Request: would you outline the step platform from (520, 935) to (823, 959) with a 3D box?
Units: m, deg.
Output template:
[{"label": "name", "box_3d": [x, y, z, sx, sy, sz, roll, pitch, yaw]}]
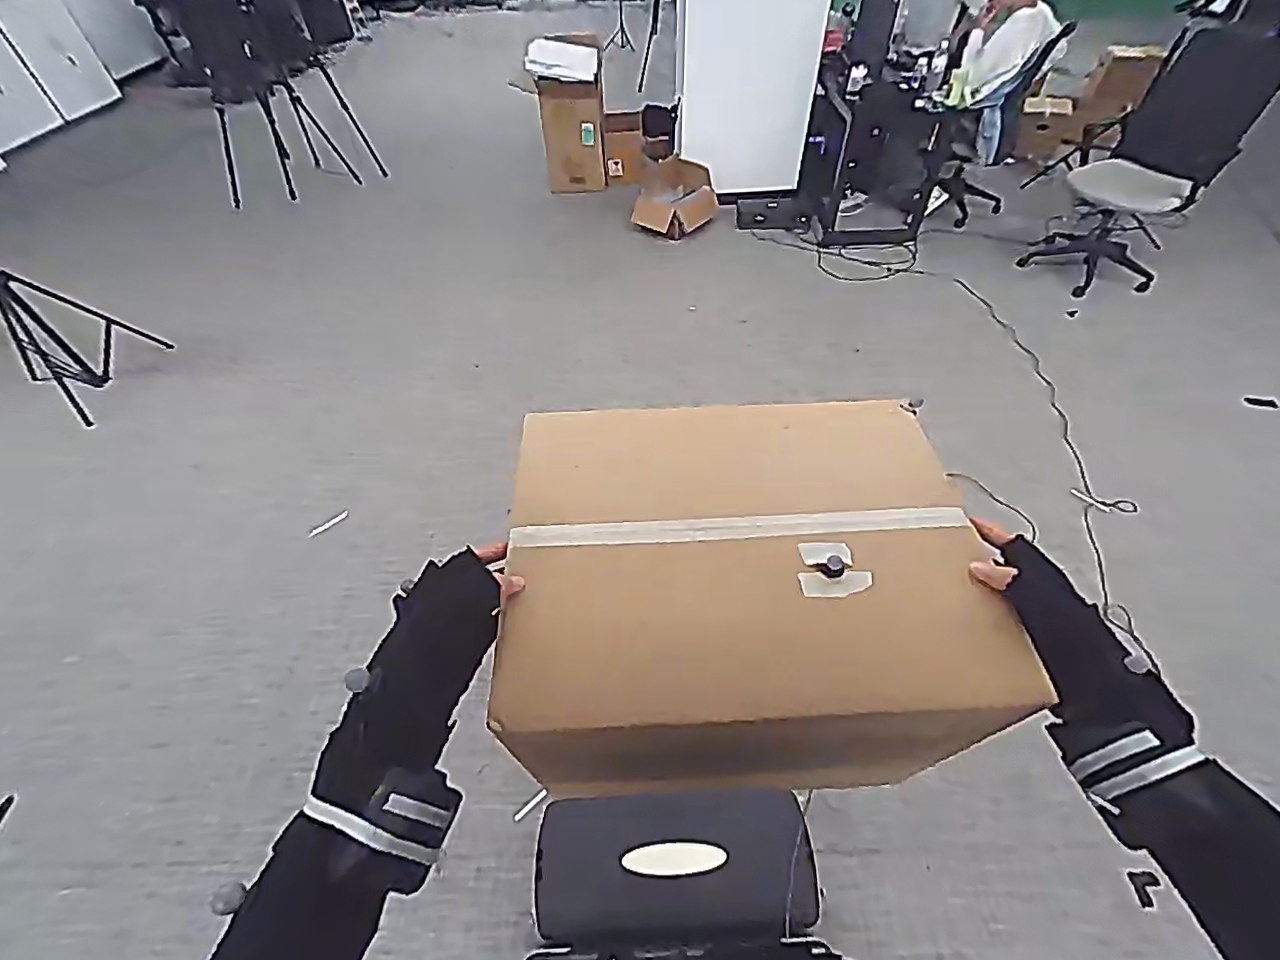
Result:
[{"label": "step platform", "box_3d": [0.065, 1.131, 1.100, 0.684, 0.204, 0.286, -4, 49, 1]}]

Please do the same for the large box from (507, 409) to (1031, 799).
[{"label": "large box", "box_3d": [0.089, 0.144, 0.605, 0.408, 0.320, 0.320, -3, 52, -2]}]
